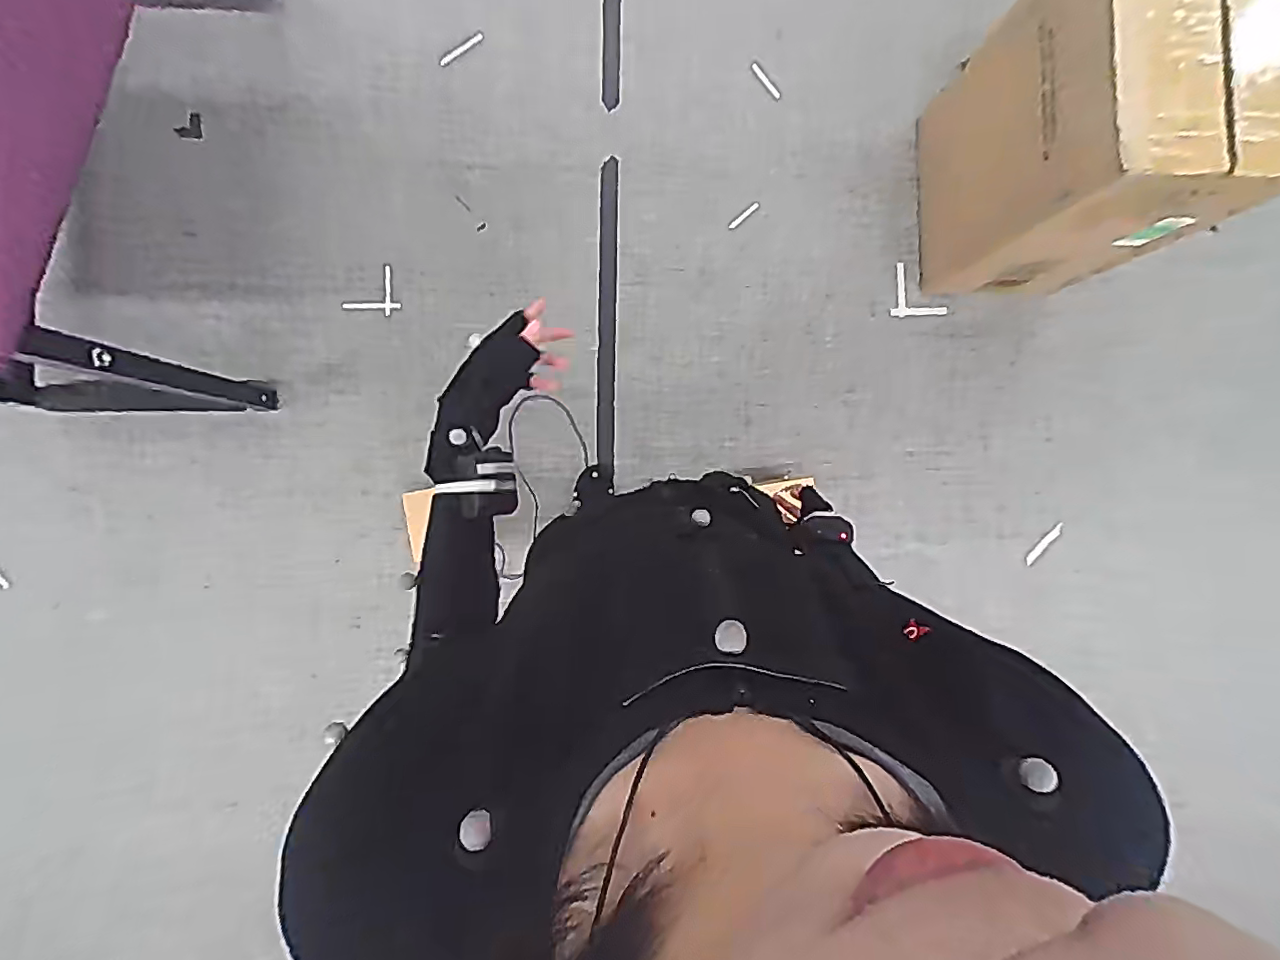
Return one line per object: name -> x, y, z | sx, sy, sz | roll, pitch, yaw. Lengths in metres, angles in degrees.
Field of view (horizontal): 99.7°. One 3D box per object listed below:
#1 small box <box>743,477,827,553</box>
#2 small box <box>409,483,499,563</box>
small box -> 0.388, 0.089, 1.468 | 0.168, 0.176, 0.179 | -9, 91, -3
small box -> -0.479, 0.108, 1.417 | 0.168, 0.176, 0.179 | -11, 88, -4
